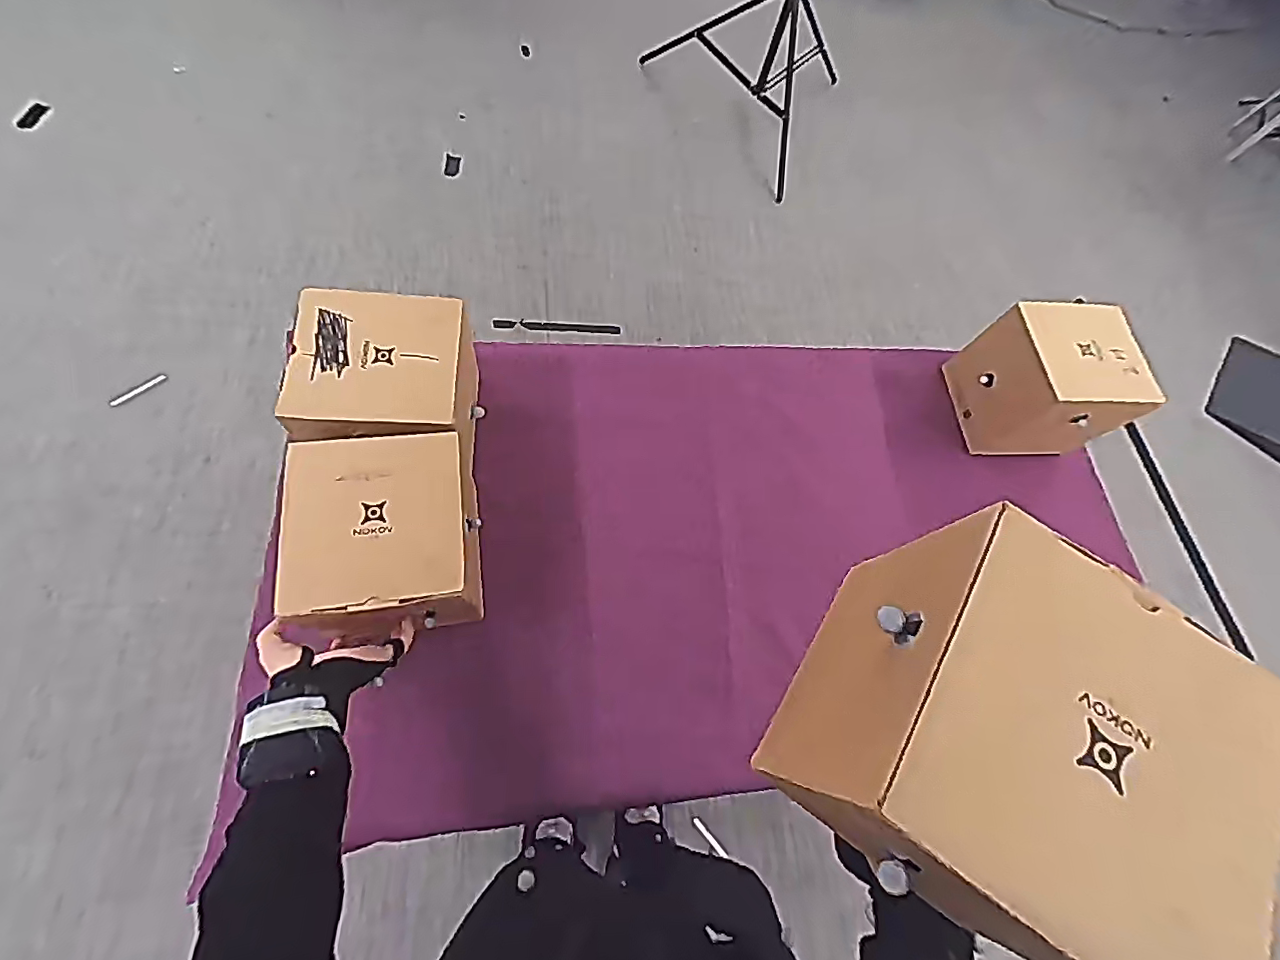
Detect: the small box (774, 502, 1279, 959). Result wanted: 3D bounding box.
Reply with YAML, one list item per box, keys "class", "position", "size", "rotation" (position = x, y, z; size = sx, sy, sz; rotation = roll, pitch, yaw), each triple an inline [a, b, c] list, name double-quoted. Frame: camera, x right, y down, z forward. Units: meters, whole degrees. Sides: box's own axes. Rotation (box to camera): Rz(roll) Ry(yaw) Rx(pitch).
- class: "small box"
  position: [0.202, 0.150, 0.322]
  size: [0.168, 0.176, 0.179]
  rotation: [35, 66, 7]

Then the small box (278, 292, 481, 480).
- class: "small box"
  position: [-0.299, -0.105, 0.664]
  size: [0.179, 0.176, 0.168]
  rotation: [1, 69, -10]

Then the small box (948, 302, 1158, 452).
- class: "small box"
  position: [0.608, -0.149, 0.829]
  size: [0.179, 0.176, 0.168]
  rotation: [-1, 68, -10]
